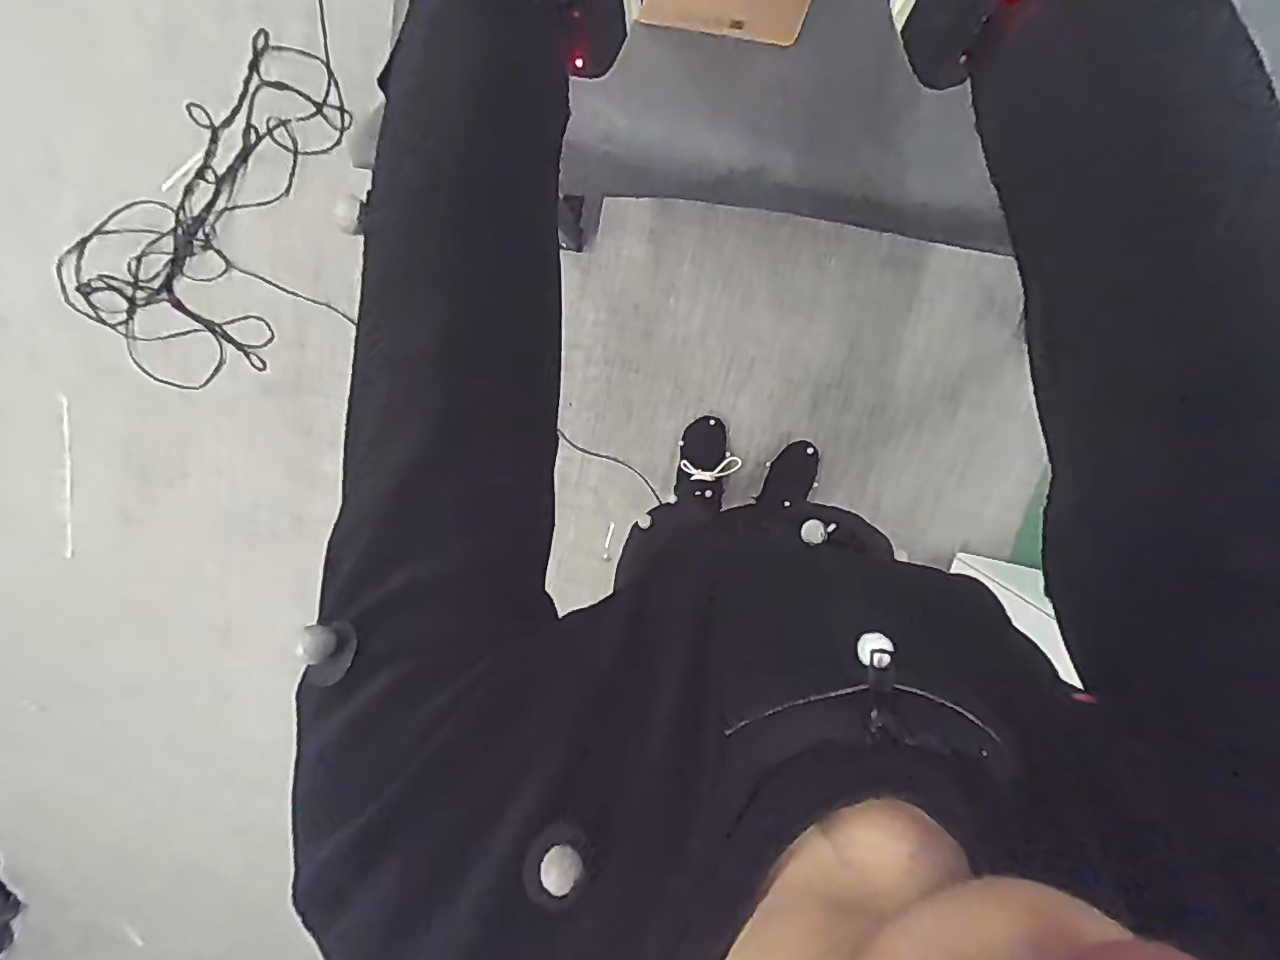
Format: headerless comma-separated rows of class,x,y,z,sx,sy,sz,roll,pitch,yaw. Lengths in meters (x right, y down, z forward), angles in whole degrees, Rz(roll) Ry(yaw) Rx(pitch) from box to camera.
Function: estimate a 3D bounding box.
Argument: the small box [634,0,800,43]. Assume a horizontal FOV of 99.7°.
small box,0.080,-0.524,0.451,0.168,0.176,0.179,11,100,1
